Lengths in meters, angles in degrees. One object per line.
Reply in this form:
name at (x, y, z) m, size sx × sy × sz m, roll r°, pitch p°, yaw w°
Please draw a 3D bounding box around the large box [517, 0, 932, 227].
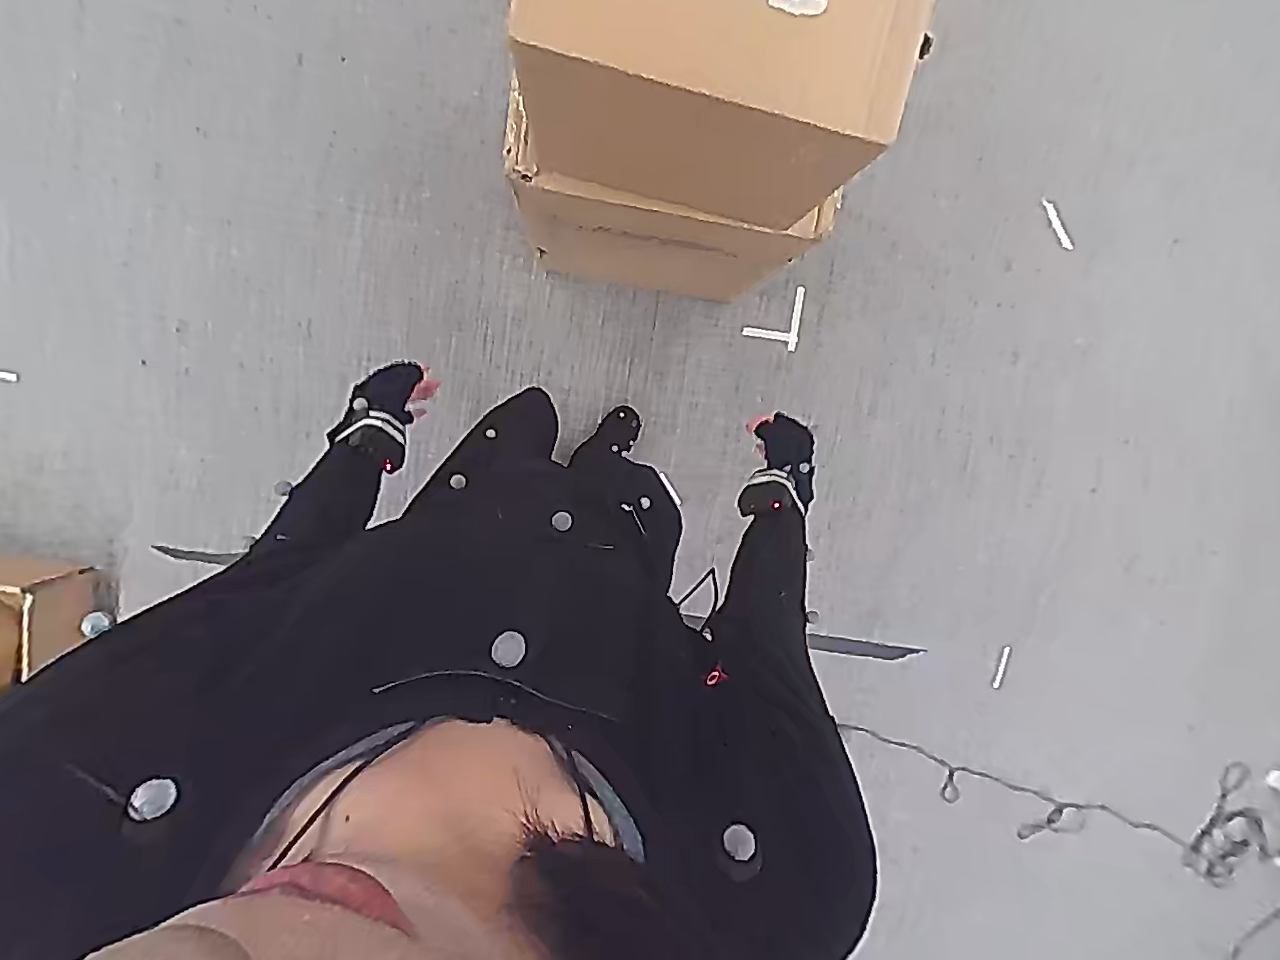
large box at (0.086, -0.552, 0.660) m, size 0.408 × 0.320 × 0.320 m, roll 10°, pitch 99°, yaw -8°
